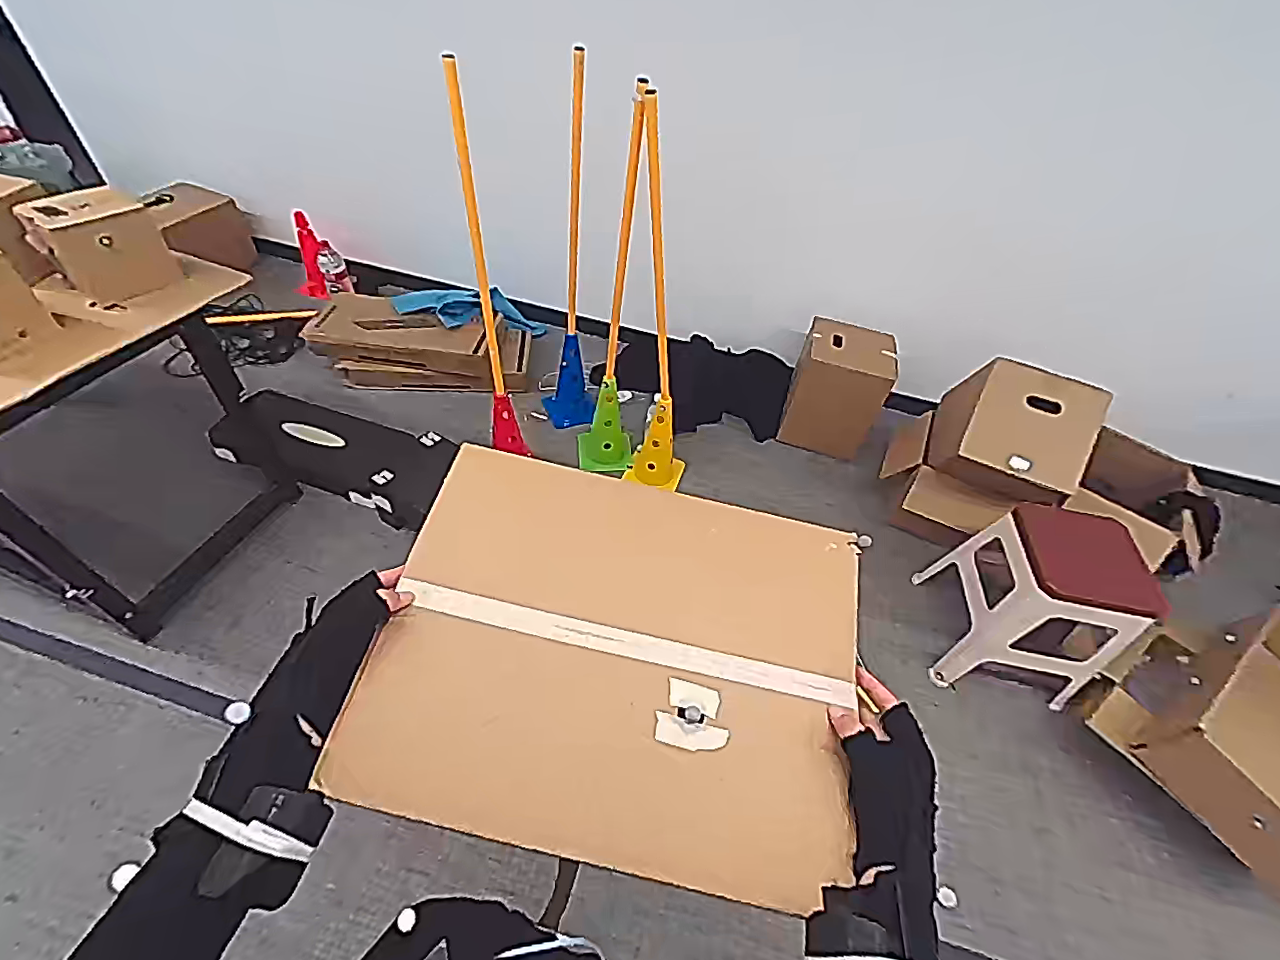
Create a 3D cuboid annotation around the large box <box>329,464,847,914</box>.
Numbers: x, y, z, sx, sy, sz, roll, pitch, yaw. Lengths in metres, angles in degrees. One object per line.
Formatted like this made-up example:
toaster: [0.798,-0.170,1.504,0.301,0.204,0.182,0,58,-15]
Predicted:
large box: [-0.031,0.225,0.604,0.408,0.320,0.320,13,61,1]
